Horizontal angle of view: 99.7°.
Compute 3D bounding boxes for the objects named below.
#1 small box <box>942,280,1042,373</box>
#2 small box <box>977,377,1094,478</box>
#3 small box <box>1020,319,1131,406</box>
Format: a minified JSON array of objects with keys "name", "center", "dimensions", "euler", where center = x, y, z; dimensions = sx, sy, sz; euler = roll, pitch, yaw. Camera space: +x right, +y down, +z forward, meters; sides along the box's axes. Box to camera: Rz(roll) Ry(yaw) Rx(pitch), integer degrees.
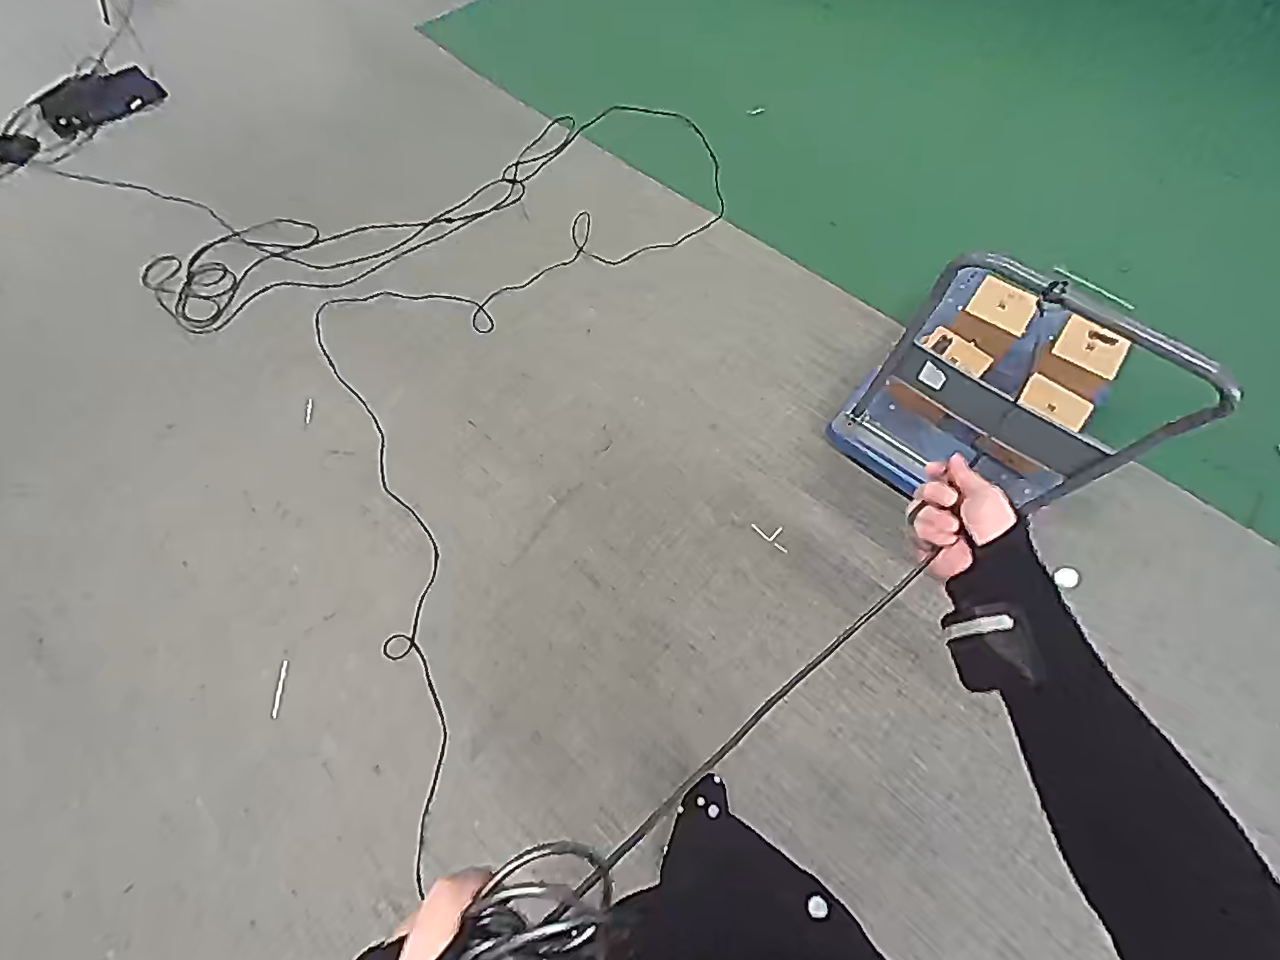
[{"name":"small box","center":[1.054,-0.459,1.636],"dimensions":[0.168,0.176,0.179],"euler":[35,70,15]},{"name":"small box","center":[1.072,-0.139,1.482],"dimensions":[0.168,0.176,0.179],"euler":[40,72,17]},{"name":"small box","center":[1.252,-0.321,1.567],"dimensions":[0.168,0.176,0.179],"euler":[35,70,17]}]
